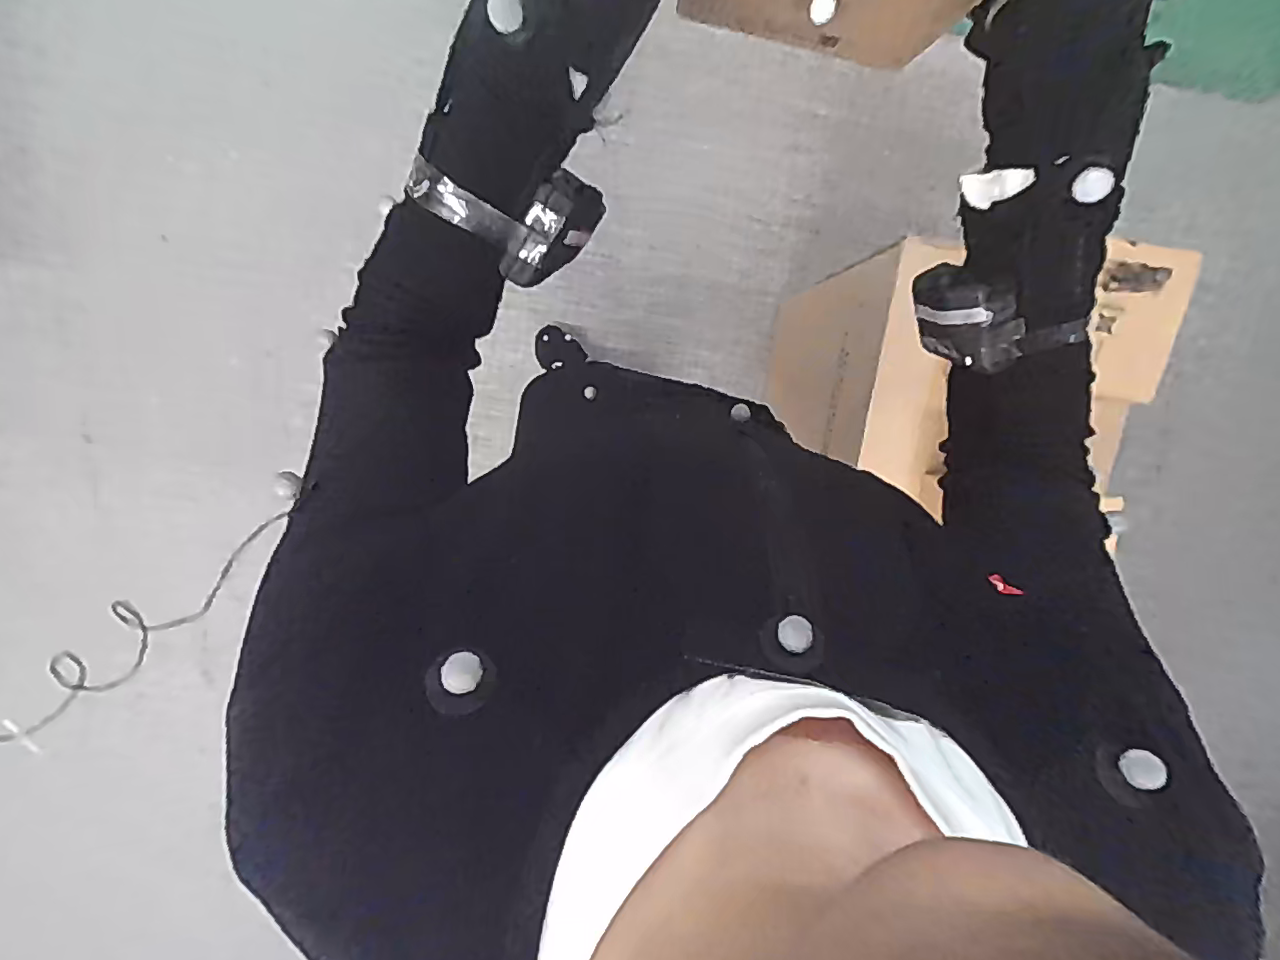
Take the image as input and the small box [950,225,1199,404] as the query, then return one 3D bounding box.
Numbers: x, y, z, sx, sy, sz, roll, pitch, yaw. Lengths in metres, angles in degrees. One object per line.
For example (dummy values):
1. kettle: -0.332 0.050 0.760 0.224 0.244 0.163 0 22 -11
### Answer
1. small box: 0.543 -0.204 0.707 0.168 0.176 0.179 11 101 0
